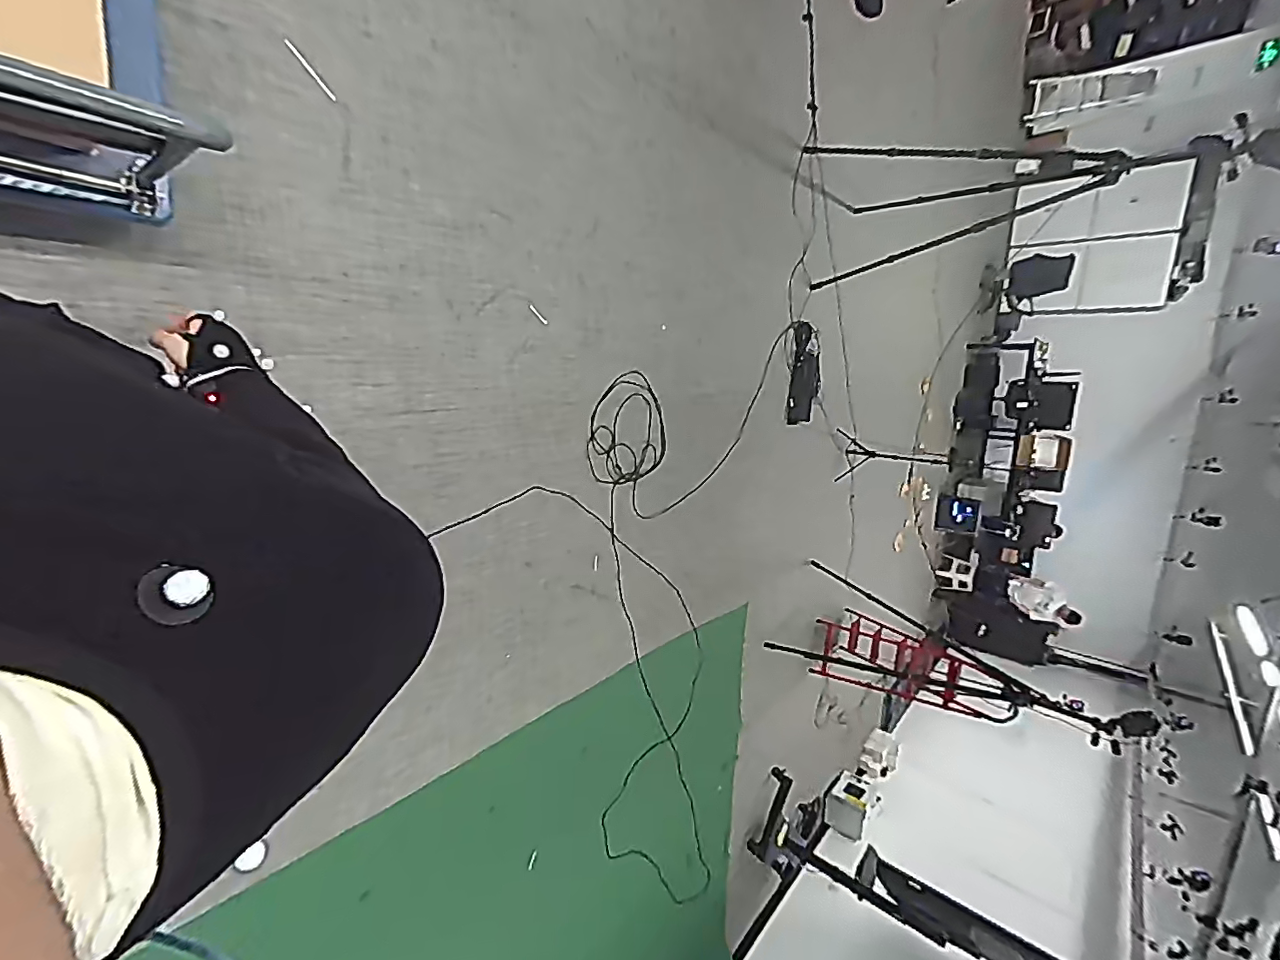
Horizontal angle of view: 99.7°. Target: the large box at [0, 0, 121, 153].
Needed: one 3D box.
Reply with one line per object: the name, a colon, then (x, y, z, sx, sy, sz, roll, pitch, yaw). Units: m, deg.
large box: (-0.976, -0.755, 0.754, 0.320, 0.320, 0.408, -8, 104, -48)
